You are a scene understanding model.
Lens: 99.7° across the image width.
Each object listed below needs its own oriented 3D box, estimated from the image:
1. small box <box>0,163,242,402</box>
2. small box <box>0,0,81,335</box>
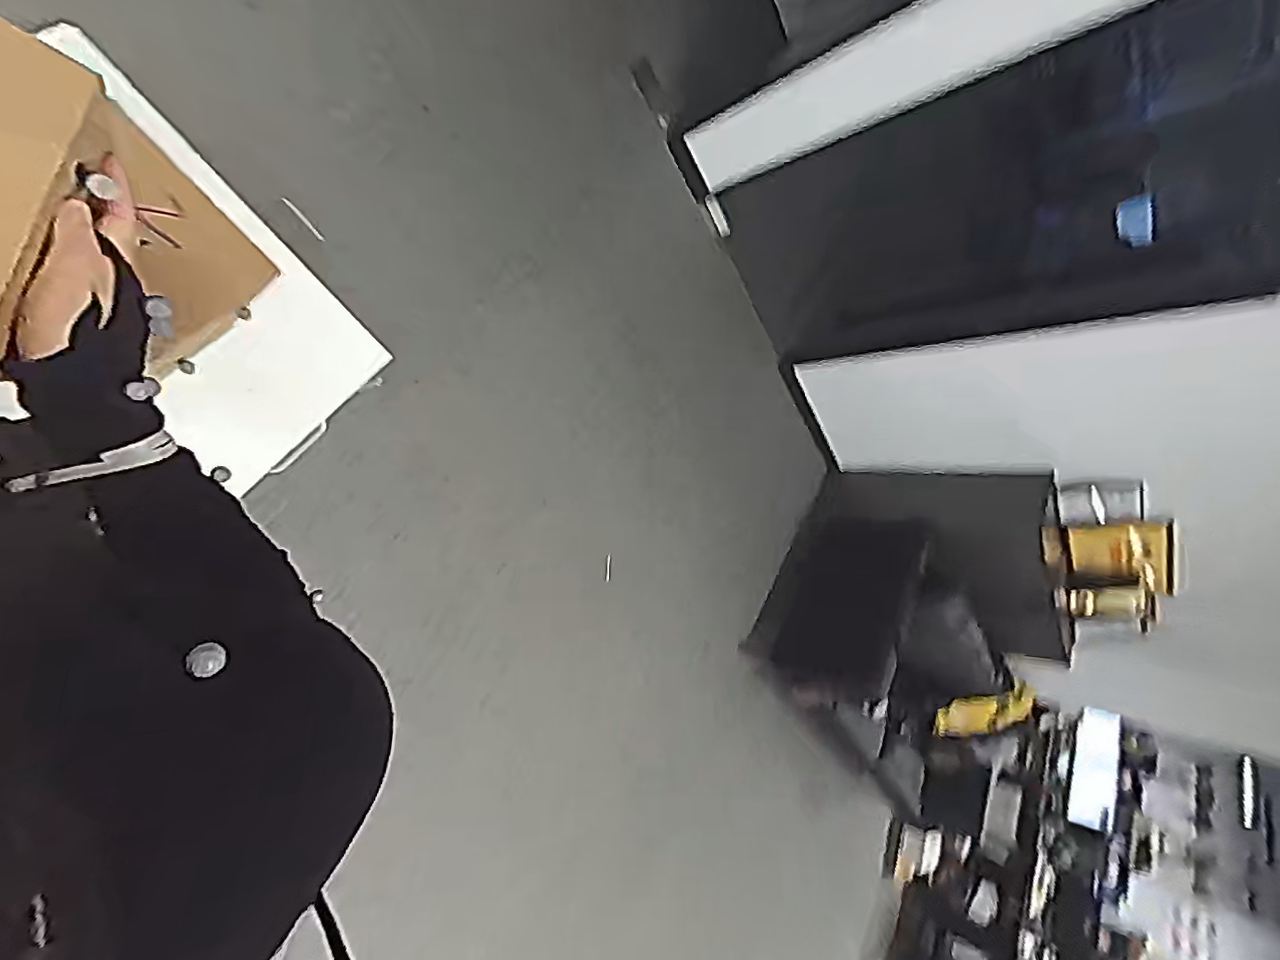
[{"bbox_3d":[-0.600,-0.205,0.598,0.168,0.176,0.179,54,55,-32],"label":"small box"},{"bbox_3d":[-0.411,-0.170,0.258,0.168,0.176,0.179,23,82,-43],"label":"small box"}]
